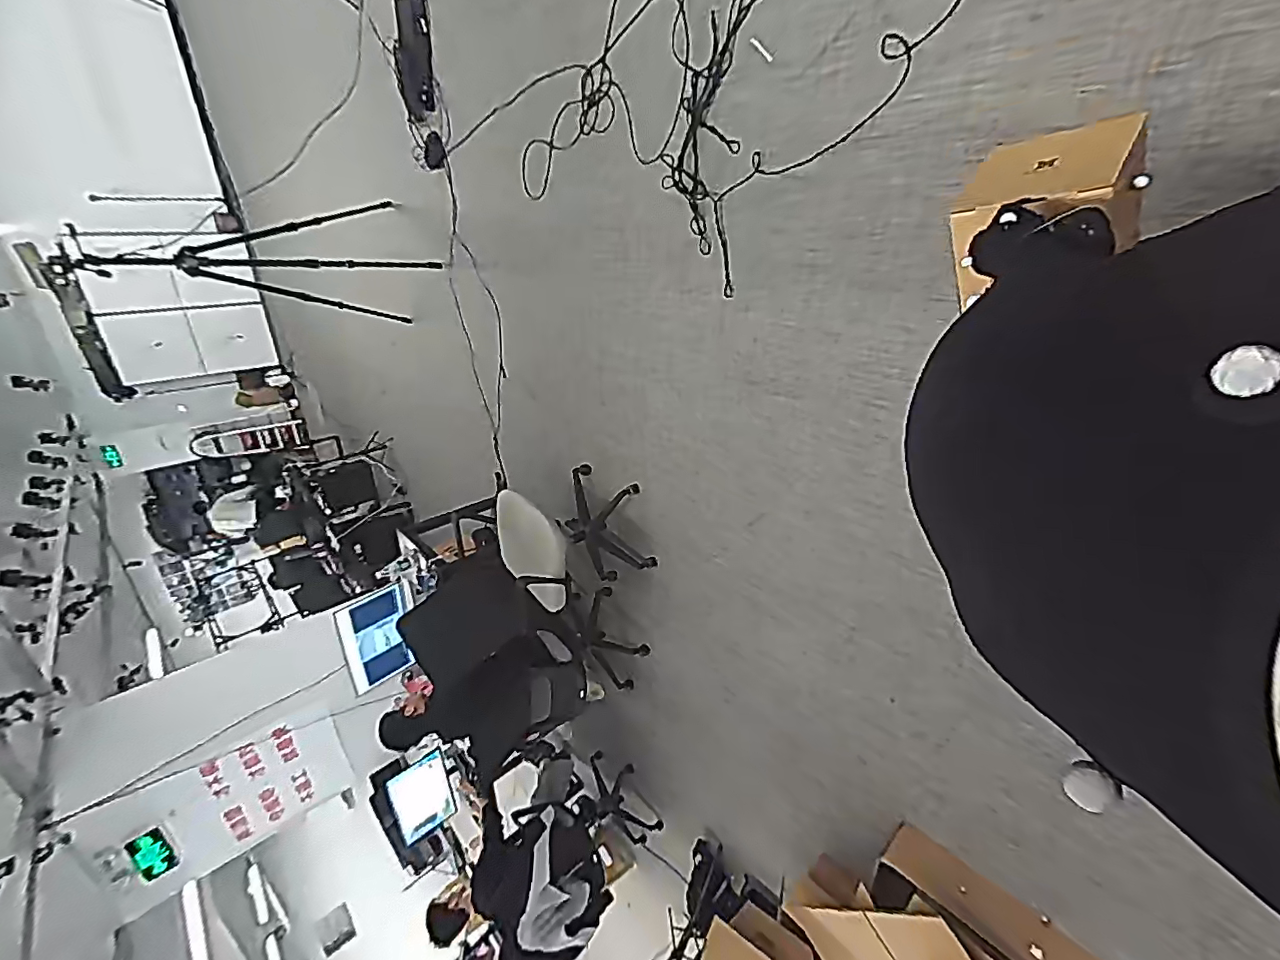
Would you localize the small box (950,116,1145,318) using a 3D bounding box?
[{"bbox_3d":[0.544,-0.340,0.728,0.168,0.179,0.176,14,148,46],"label":"small box"}]
